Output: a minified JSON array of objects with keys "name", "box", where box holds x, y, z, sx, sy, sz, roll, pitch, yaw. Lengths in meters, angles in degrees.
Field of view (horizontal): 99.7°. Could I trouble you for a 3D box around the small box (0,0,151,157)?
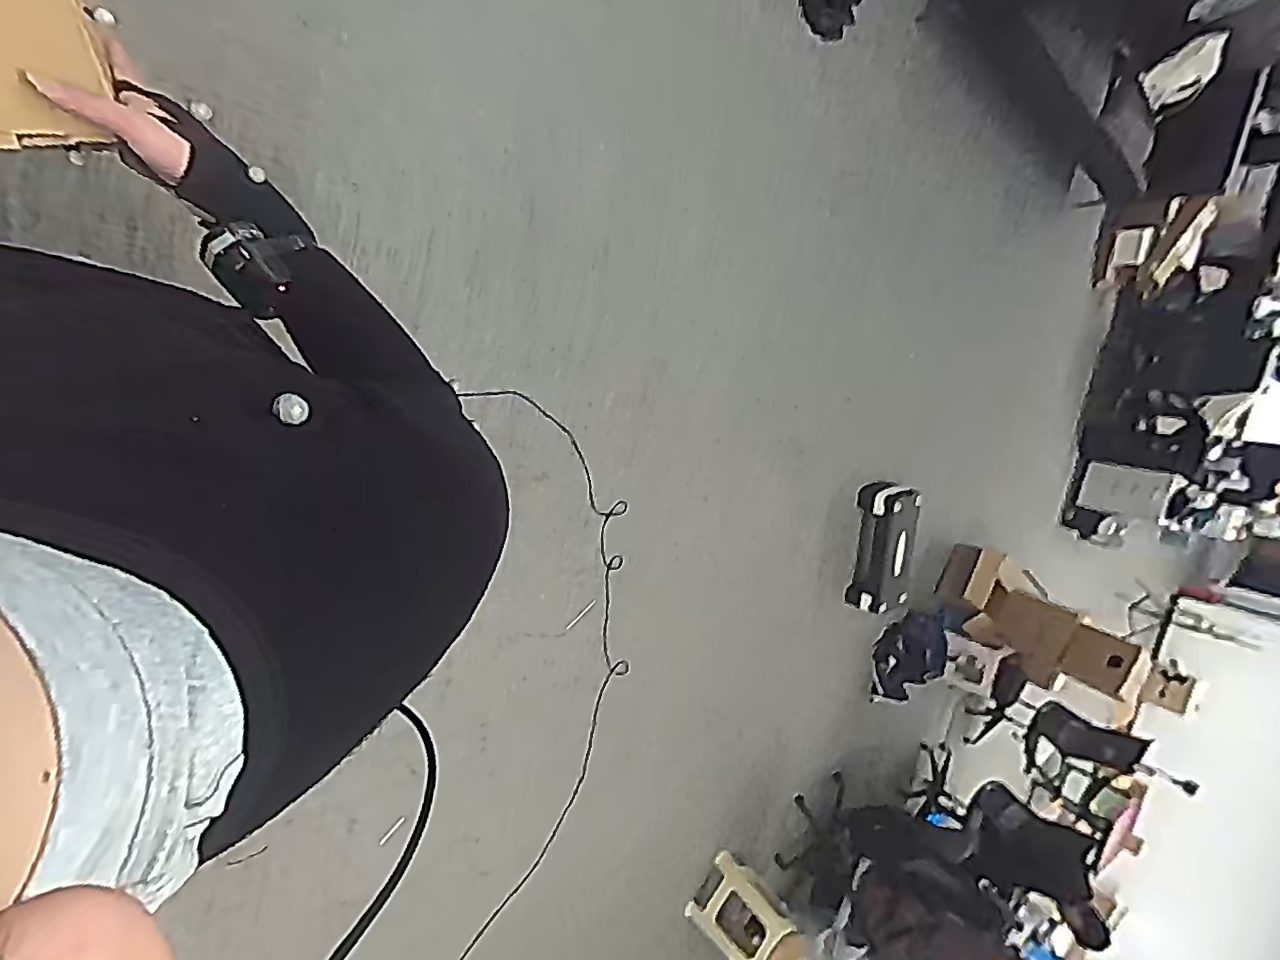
[{"name":"small box","box":[-0.498,-0.342,0.394,0.168,0.176,0.179,-17,122,-29]}]
